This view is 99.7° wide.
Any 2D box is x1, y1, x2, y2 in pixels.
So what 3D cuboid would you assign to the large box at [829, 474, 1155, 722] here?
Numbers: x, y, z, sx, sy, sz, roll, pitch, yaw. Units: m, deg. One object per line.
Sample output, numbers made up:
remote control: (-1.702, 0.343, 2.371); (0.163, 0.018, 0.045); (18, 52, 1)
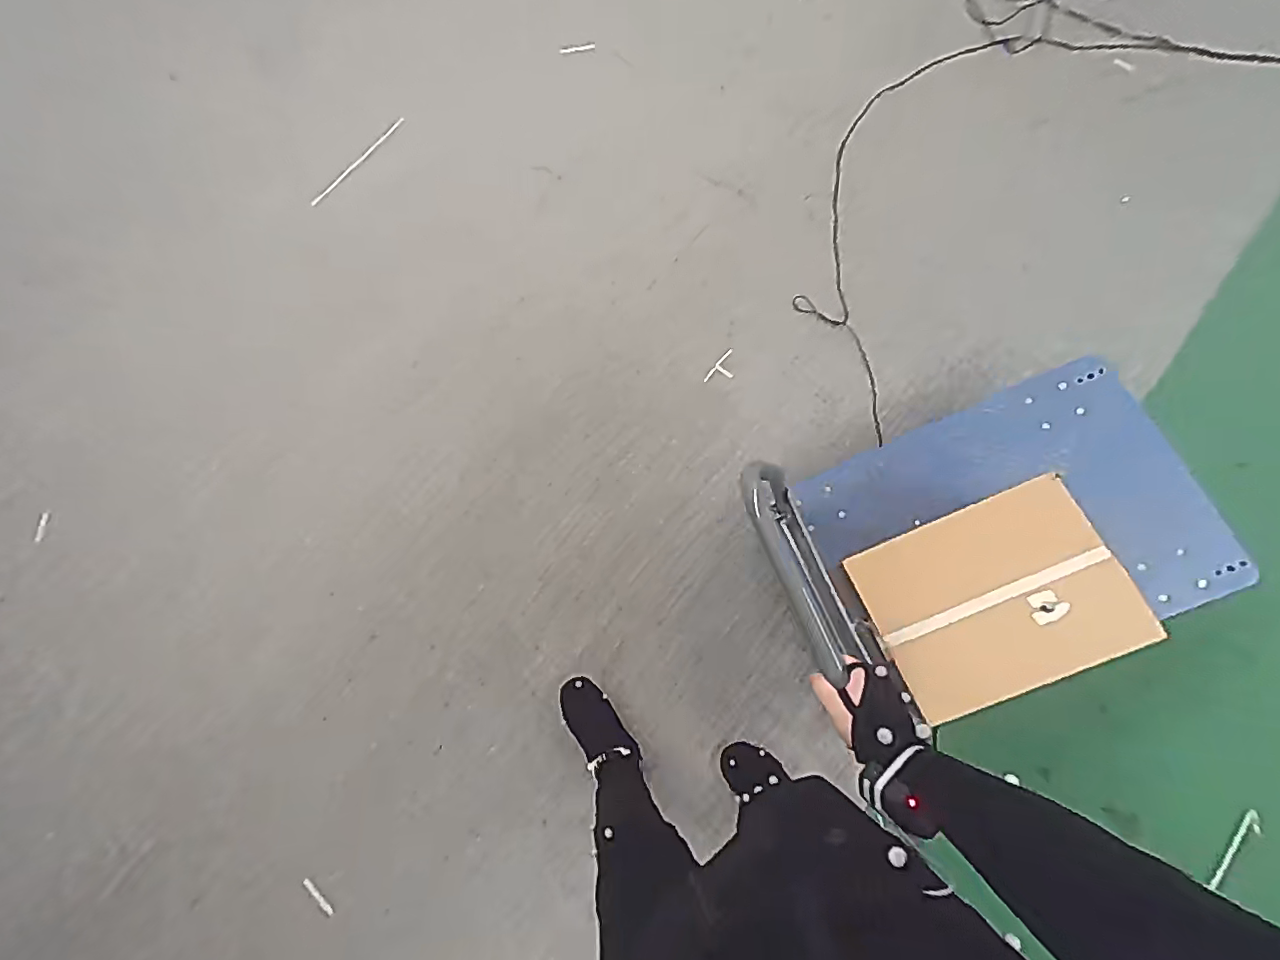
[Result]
large box: (0.653, 0.239, 1.099); (0.408, 0.320, 0.320); (-25, 74, 7)
